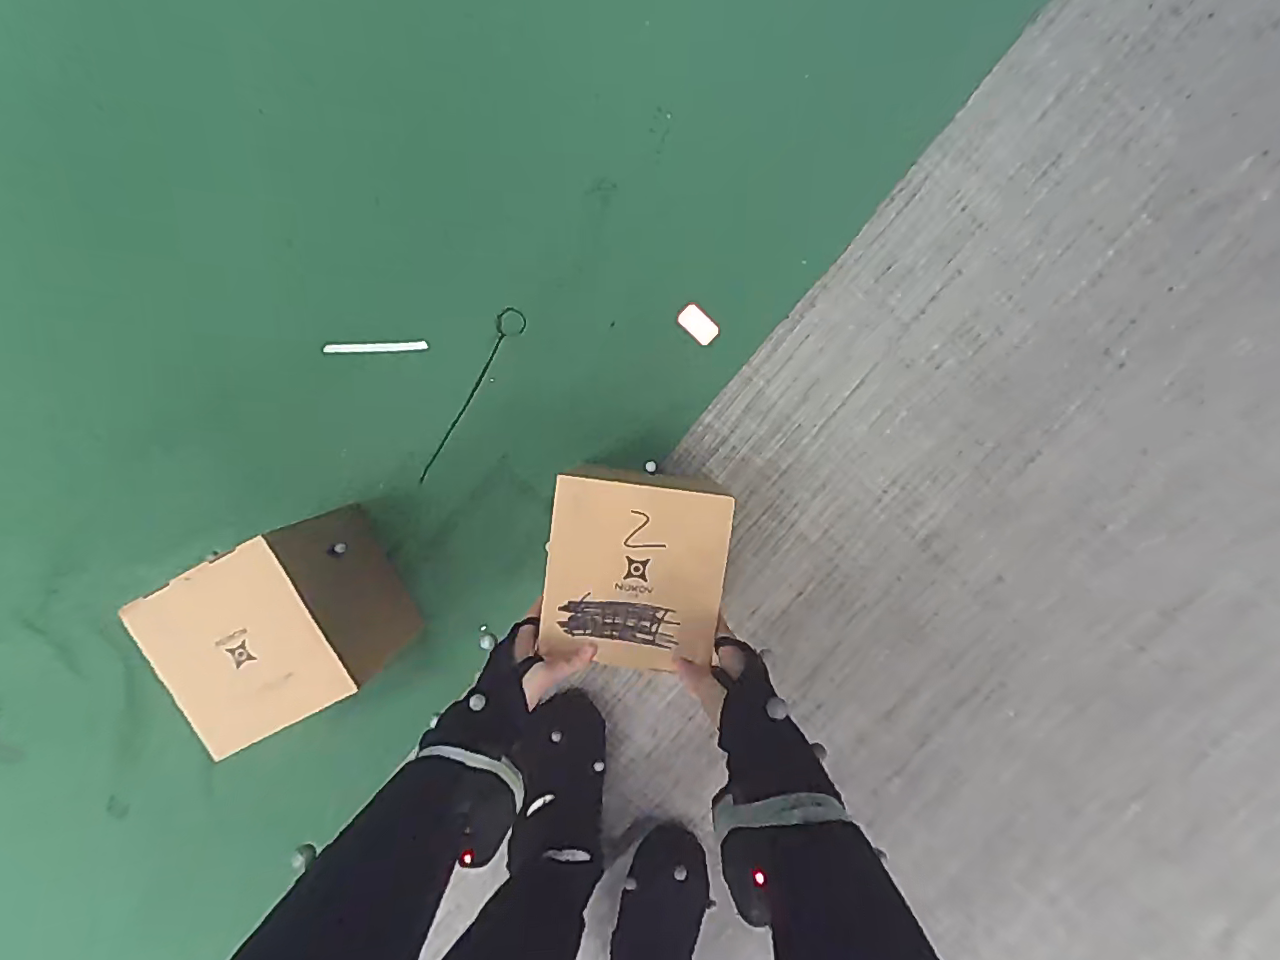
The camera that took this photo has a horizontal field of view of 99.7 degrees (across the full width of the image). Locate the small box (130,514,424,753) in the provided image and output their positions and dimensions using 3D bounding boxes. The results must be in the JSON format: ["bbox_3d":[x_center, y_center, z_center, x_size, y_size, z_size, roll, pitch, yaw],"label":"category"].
[{"bbox_3d":[-0.377,0.150,0.599,0.168,0.176,0.179,-26,97,3],"label":"small box"}]
